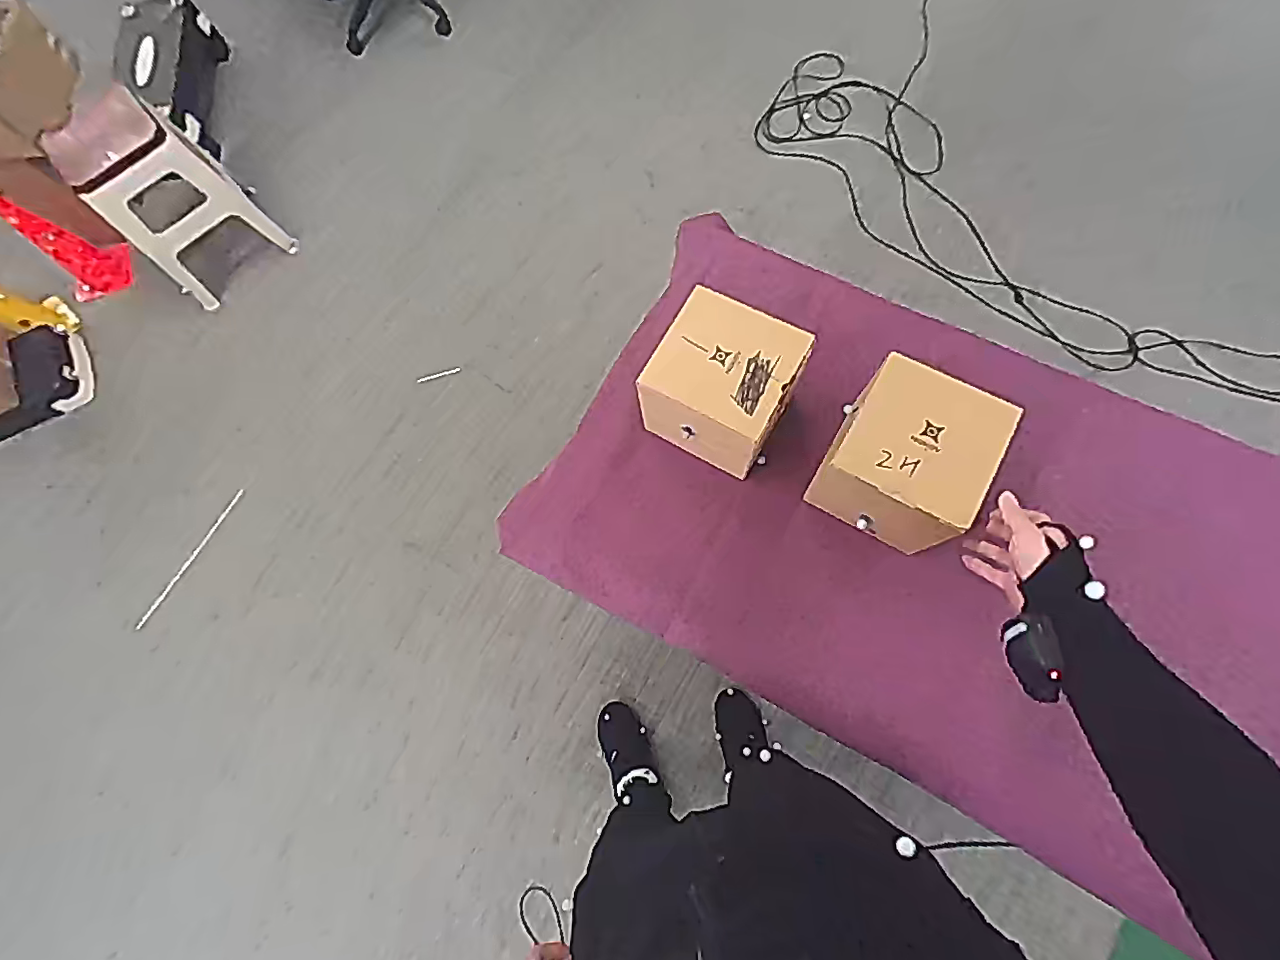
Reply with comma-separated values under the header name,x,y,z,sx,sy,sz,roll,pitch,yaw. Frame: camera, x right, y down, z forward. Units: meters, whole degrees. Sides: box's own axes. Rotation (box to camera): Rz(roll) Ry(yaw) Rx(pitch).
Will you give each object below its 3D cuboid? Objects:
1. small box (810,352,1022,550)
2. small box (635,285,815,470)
name,x,y,z,sx,sy,sz,roll,pitch,yaw
small box,0.345,-0.029,0.713,0.168,0.176,0.179,30,79,12
small box,0.115,-0.131,0.761,0.179,0.176,0.168,29,78,13
